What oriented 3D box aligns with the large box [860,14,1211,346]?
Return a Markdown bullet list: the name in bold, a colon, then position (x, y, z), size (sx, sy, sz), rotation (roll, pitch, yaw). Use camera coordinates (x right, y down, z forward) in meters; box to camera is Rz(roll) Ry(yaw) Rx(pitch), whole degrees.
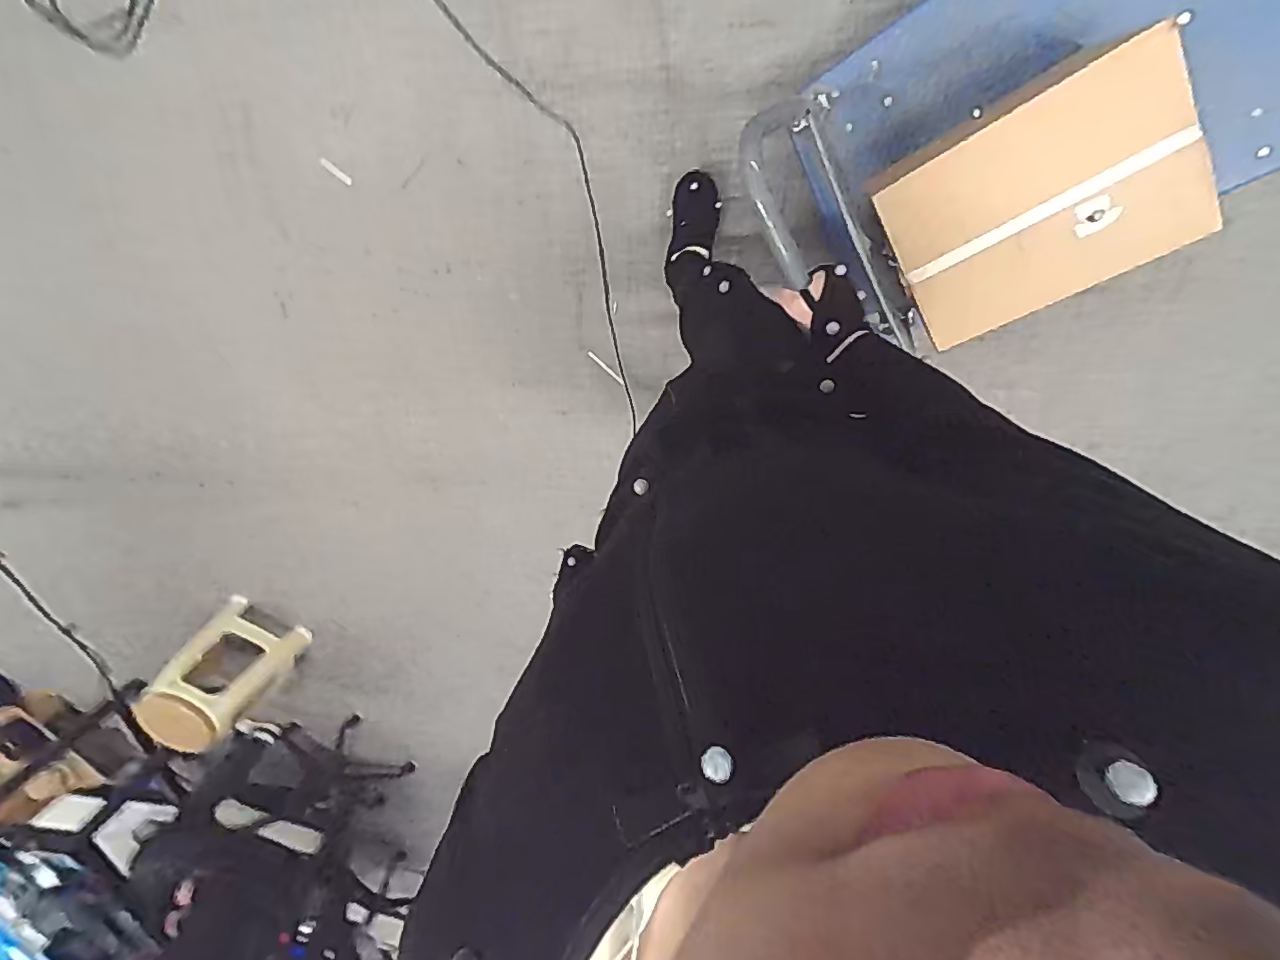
- **large box**: position (0.665, -0.510, 0.987), size (0.408, 0.320, 0.320), rotation (-23, 111, 29)
